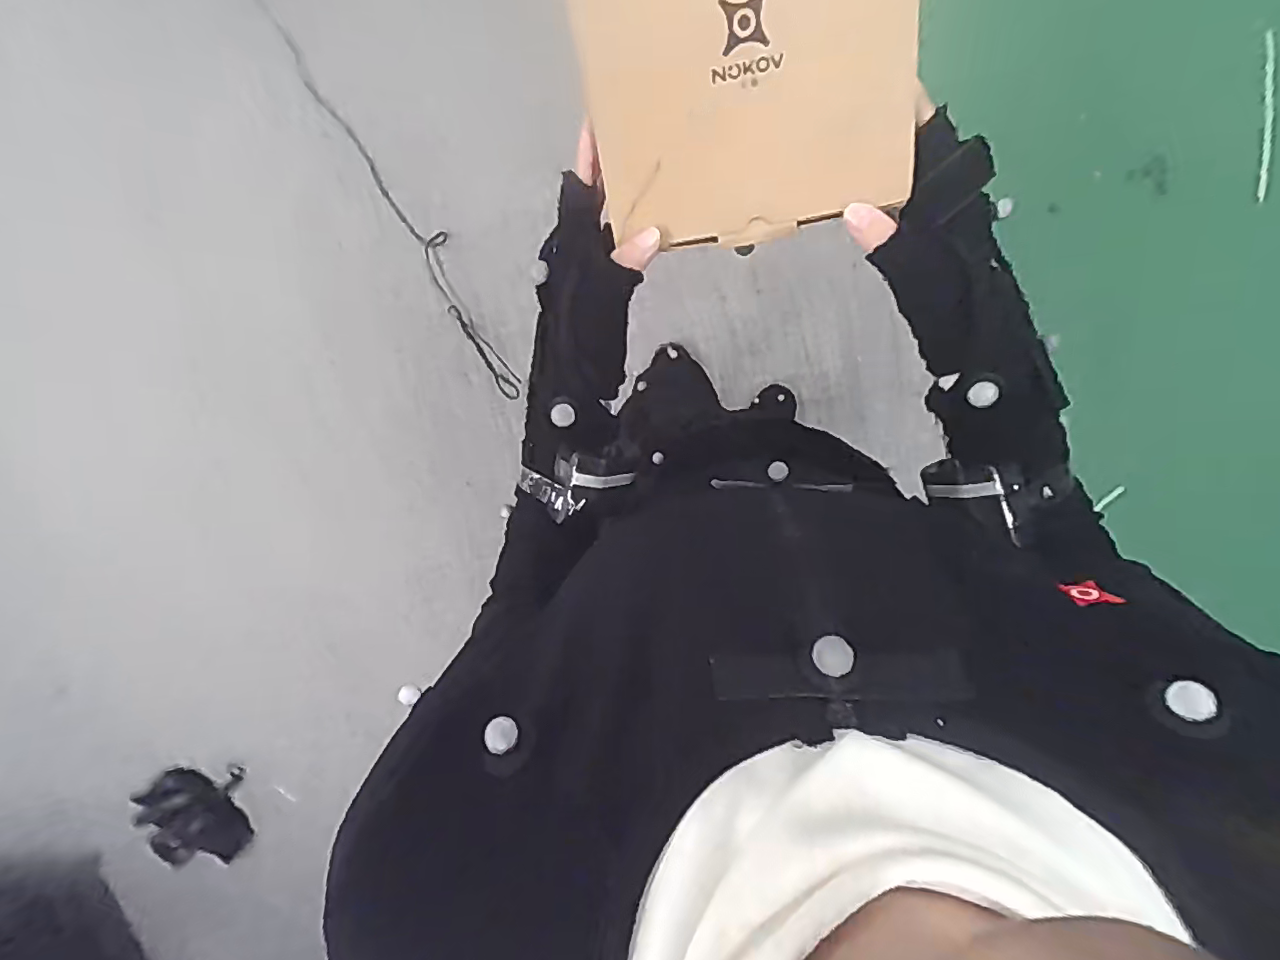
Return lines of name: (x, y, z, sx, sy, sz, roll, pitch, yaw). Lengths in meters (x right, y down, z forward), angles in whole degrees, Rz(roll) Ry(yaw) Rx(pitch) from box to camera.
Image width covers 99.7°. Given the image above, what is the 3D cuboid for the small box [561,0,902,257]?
small box: (0.053, -0.256, 0.343, 0.168, 0.176, 0.179, -8, 116, 8)
